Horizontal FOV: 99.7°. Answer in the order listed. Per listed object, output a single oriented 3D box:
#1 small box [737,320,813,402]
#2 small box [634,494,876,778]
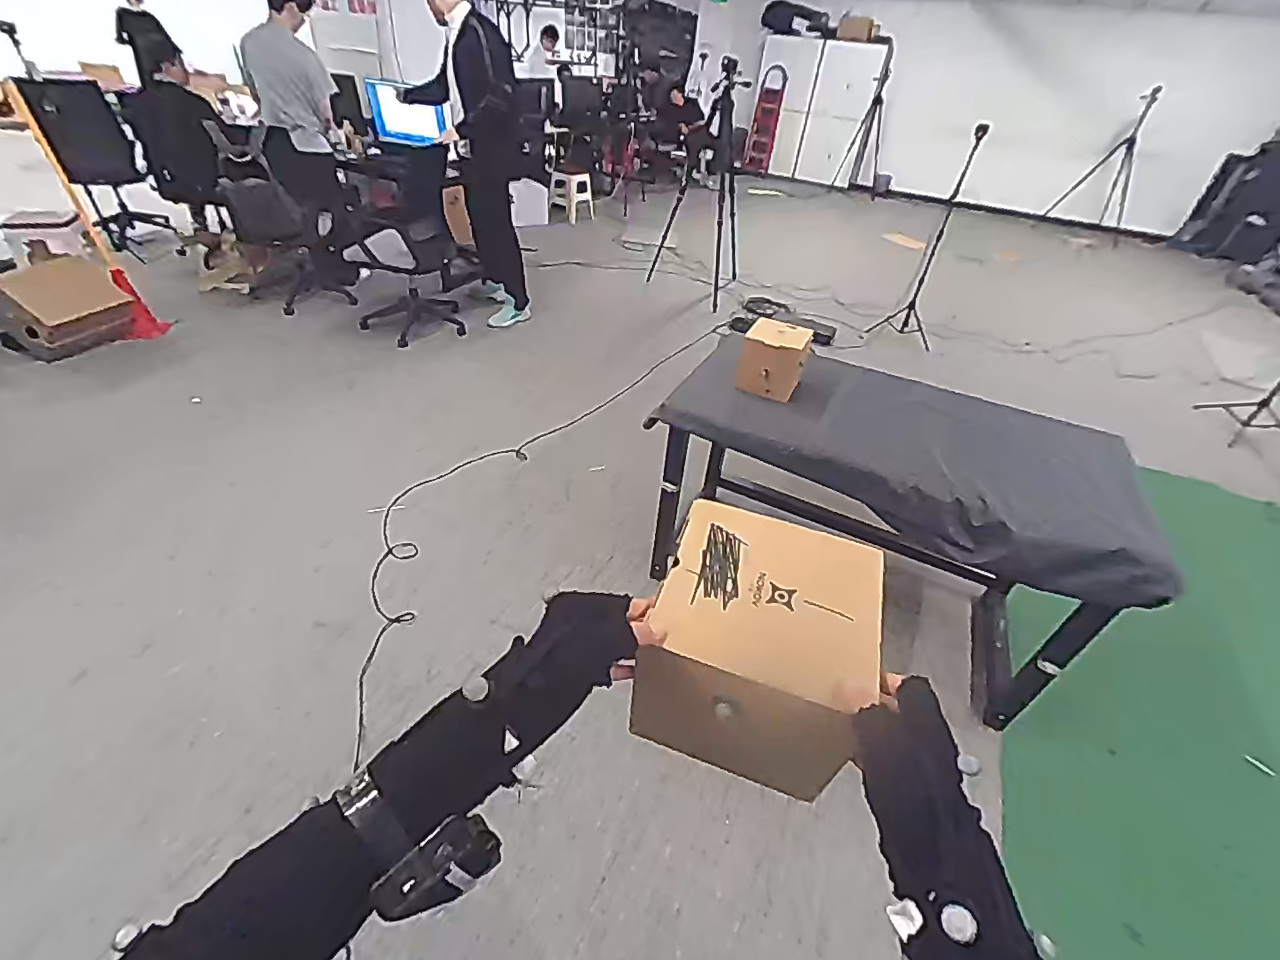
[{"bbox_3d":[0.398,-0.353,1.609,0.168,0.176,0.179,20,41,18],"label":"small box"},{"bbox_3d":[0.100,0.144,0.503,0.179,0.176,0.168,16,45,12],"label":"small box"}]
